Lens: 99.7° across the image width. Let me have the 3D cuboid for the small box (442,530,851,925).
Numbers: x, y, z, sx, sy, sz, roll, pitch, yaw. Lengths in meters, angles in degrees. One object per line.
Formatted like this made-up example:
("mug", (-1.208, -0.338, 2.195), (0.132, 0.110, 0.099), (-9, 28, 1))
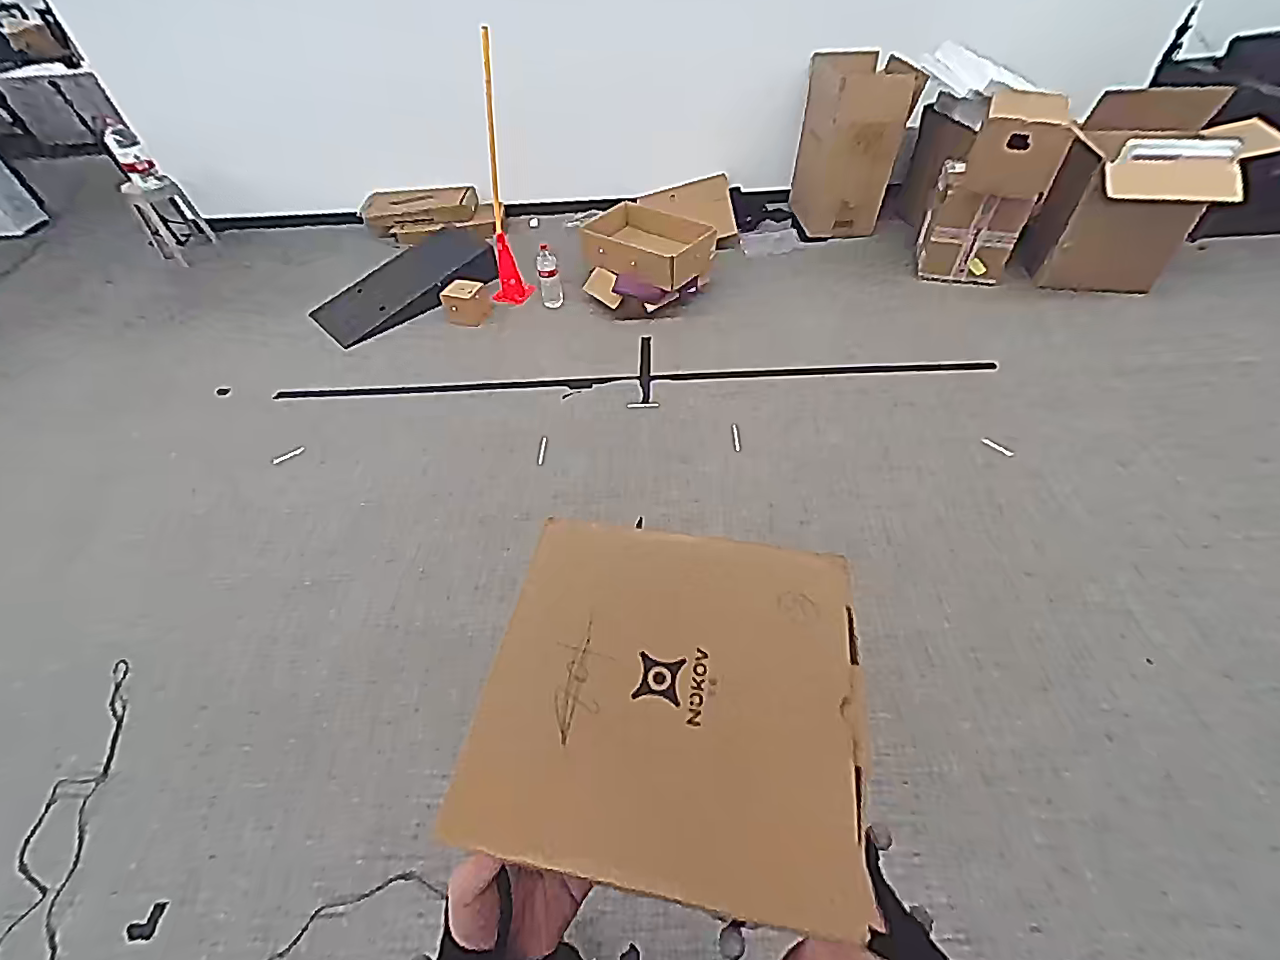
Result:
("small box", (0.016, 0.152, 0.334), (0.179, 0.176, 0.168), (5, 50, 9))
